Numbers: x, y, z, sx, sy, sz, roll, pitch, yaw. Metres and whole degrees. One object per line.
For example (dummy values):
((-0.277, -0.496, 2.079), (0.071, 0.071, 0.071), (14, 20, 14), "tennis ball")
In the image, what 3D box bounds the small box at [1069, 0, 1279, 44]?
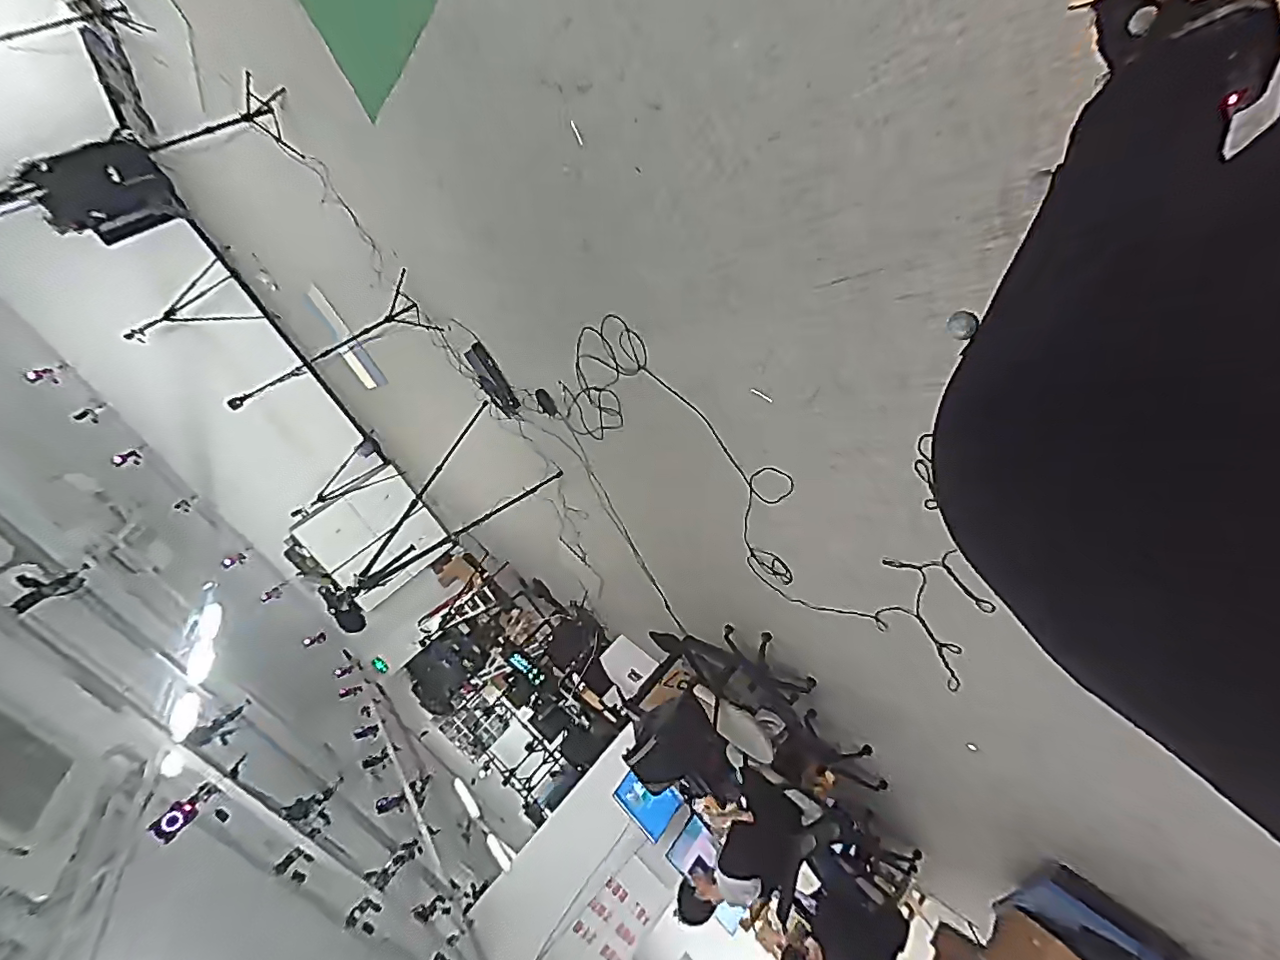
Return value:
((0.489, -0.505, 0.456), (0.168, 0.179, 0.176), (16, 125, 36), "small box")
